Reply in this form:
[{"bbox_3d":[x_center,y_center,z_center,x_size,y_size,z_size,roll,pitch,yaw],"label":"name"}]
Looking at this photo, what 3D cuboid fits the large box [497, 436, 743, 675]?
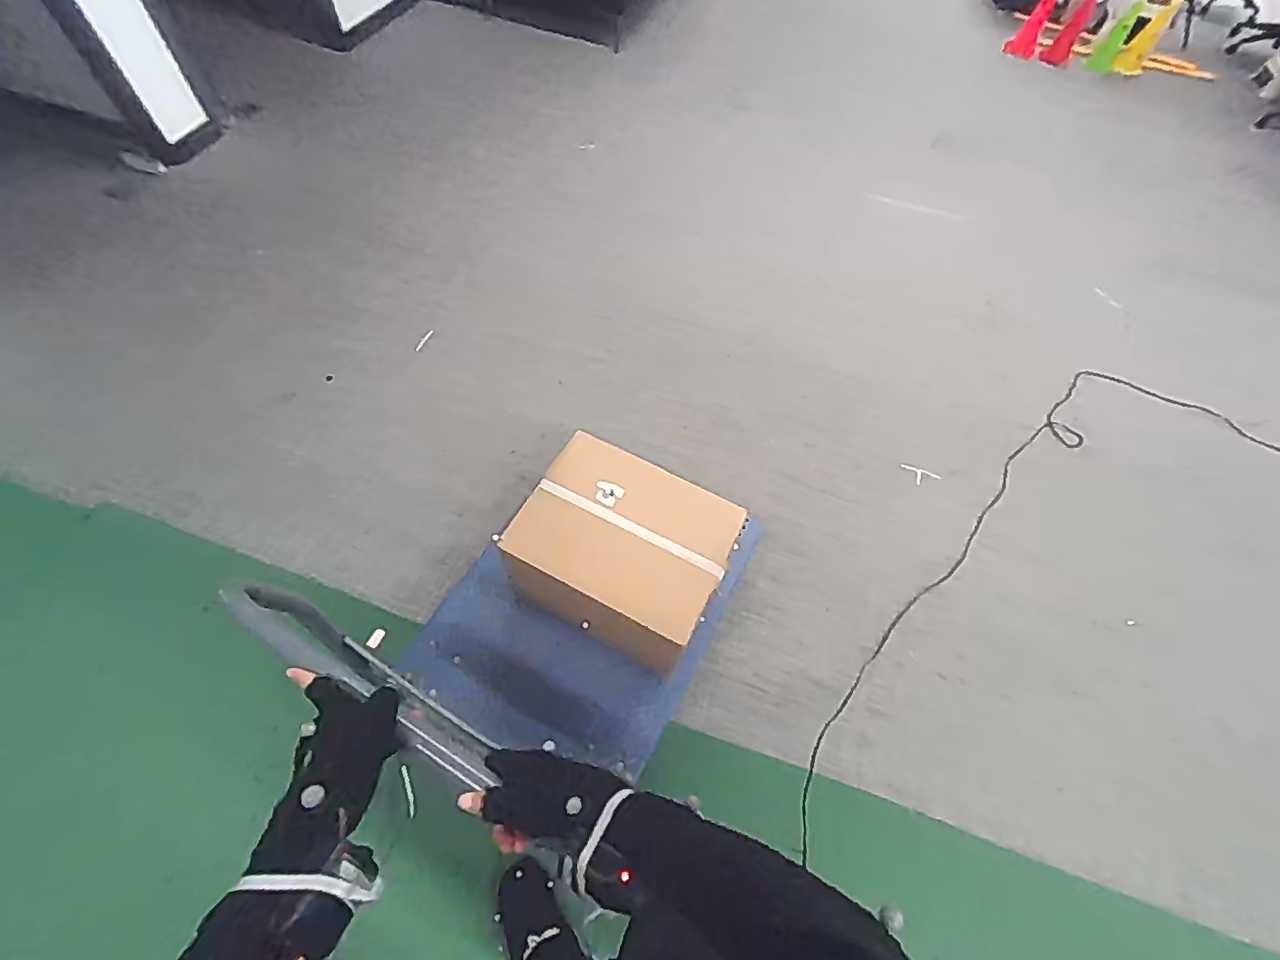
[{"bbox_3d":[-0.036,0.174,1.193,0.408,0.320,0.320,26,60,12],"label":"large box"}]
